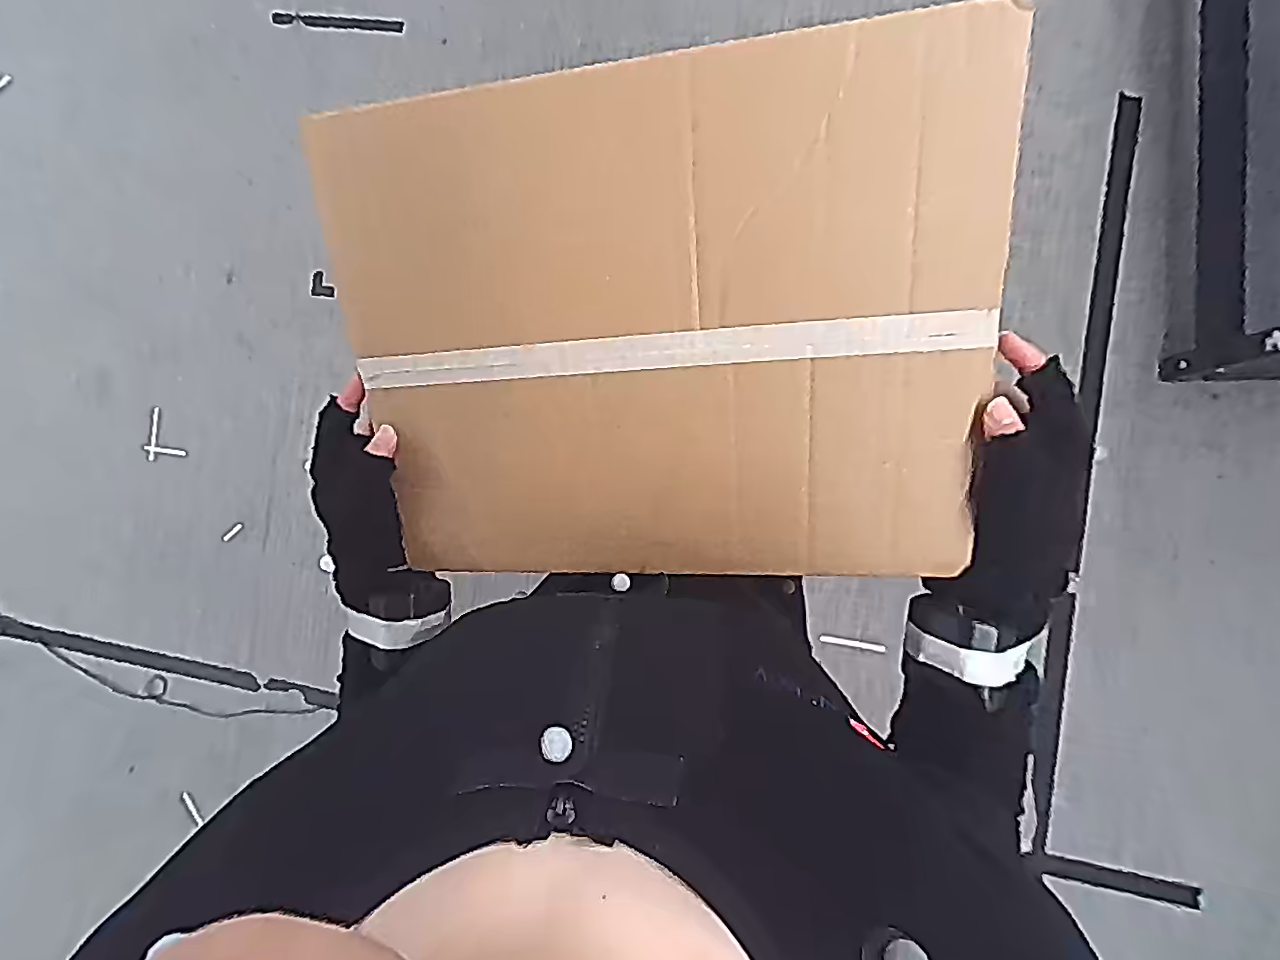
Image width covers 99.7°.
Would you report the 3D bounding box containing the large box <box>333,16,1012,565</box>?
[{"bbox_3d":[0.031,-0.129,0.493,0.408,0.320,0.320,-1,109,11],"label":"large box"}]
